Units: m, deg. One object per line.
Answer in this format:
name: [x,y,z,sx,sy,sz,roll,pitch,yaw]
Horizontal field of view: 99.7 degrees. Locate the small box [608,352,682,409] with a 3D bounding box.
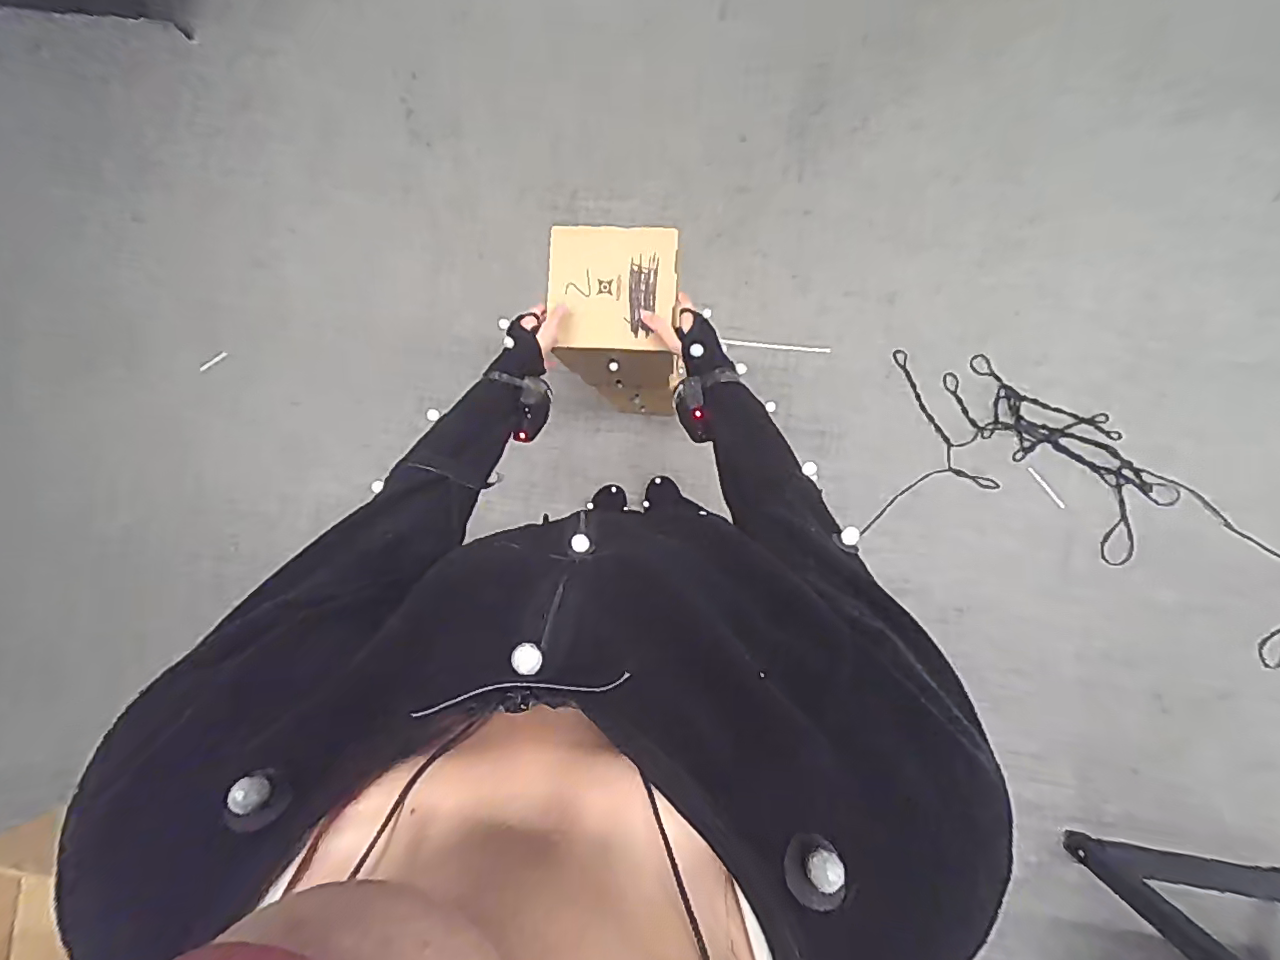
small box: [0.005,-0.268,1.290,0.179,0.176,0.168,6,89,4]

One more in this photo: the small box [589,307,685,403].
small box: [-0.003,-0.259,1.127,0.179,0.176,0.168,4,88,3]

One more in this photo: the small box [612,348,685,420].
small box: [0.025,-0.260,1.453,0.179,0.176,0.168,6,88,3]

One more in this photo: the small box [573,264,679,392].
small box: [-0.019,-0.263,0.964,0.168,0.176,0.179,4,90,4]
